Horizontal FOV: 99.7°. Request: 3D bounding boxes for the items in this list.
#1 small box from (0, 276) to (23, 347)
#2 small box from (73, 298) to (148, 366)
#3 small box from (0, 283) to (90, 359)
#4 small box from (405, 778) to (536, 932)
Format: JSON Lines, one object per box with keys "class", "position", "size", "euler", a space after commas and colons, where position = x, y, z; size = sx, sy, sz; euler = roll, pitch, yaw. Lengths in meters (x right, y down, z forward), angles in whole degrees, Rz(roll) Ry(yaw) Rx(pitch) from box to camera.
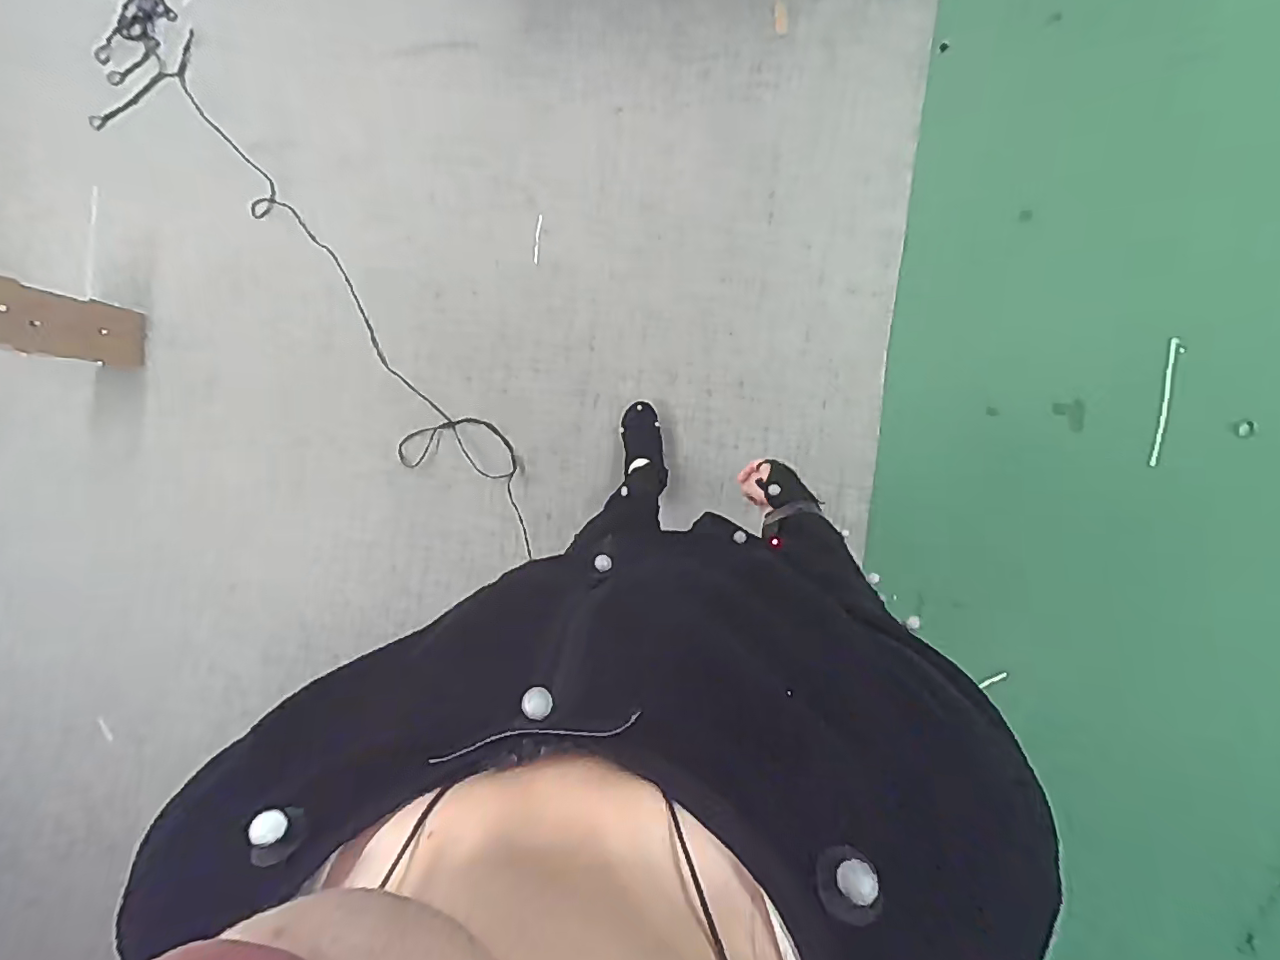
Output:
{"class": "small box", "position": [-1.723, -0.446, 1.360], "size": [0.168, 0.176, 0.179], "euler": [4, 91, 8]}
{"class": "small box", "position": [-1.689, -0.458, 1.685], "size": [0.168, 0.176, 0.179], "euler": [6, 91, 8]}
{"class": "small box", "position": [-1.715, -0.445, 1.524], "size": [0.168, 0.176, 0.179], "euler": [6, 92, 7]}
{"class": "small box", "position": [-0.325, 0.719, 1.061], "size": [0.179, 0.176, 0.168], "euler": [10, 92, 9]}
